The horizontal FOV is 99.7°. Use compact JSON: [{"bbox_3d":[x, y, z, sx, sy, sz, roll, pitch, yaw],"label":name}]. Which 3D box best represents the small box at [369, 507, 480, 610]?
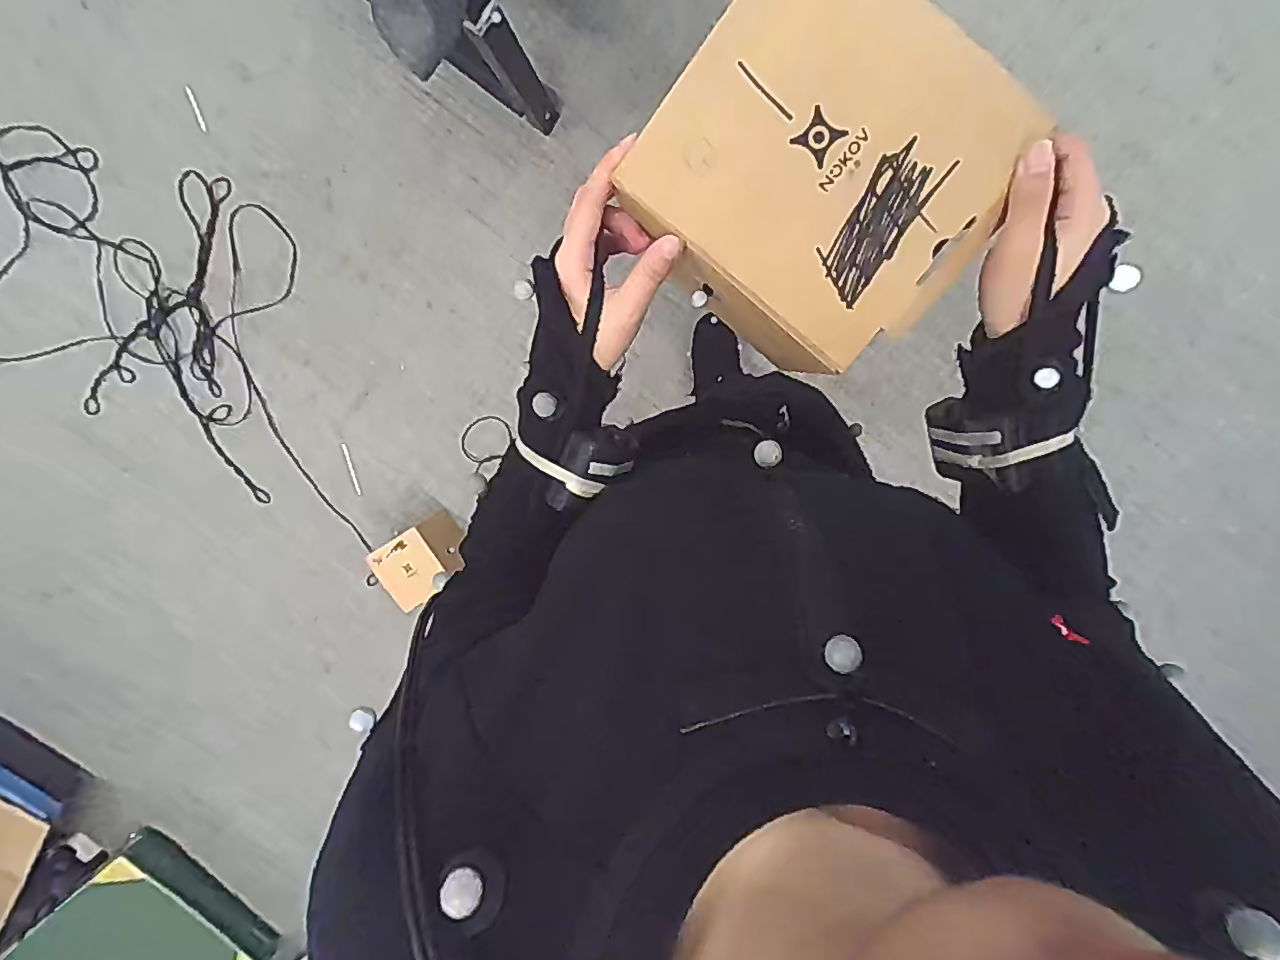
[{"bbox_3d":[-0.545,0.197,1.397,0.168,0.176,0.179,-30,100,12],"label":"small box"}]
